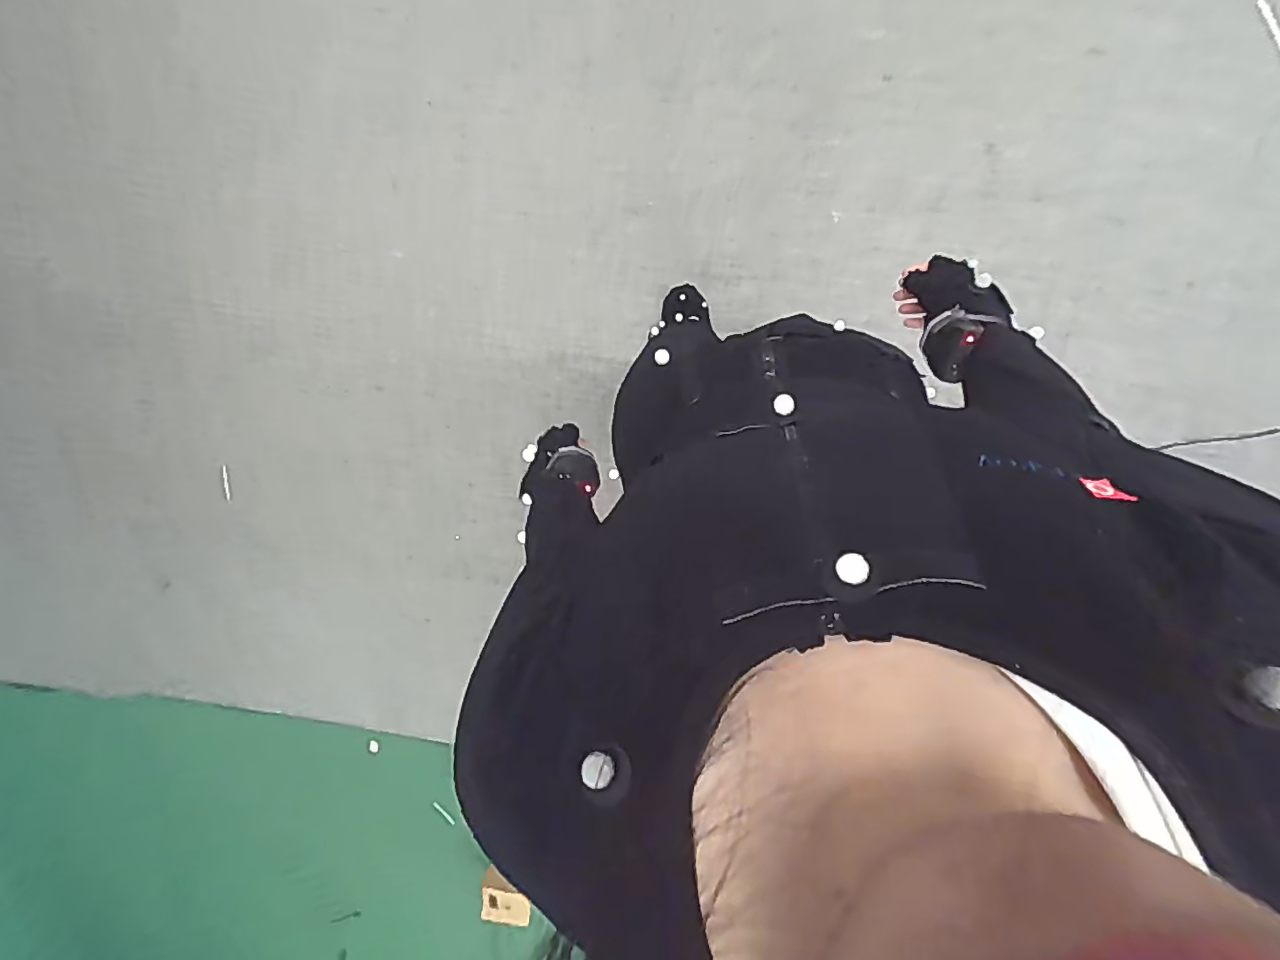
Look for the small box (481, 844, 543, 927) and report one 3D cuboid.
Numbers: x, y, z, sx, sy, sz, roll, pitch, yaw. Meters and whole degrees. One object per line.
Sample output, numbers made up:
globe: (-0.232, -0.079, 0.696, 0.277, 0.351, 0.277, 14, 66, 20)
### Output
small box: (-0.468, 1.480, 1.983, 0.179, 0.176, 0.168, 9, 109, 2)
